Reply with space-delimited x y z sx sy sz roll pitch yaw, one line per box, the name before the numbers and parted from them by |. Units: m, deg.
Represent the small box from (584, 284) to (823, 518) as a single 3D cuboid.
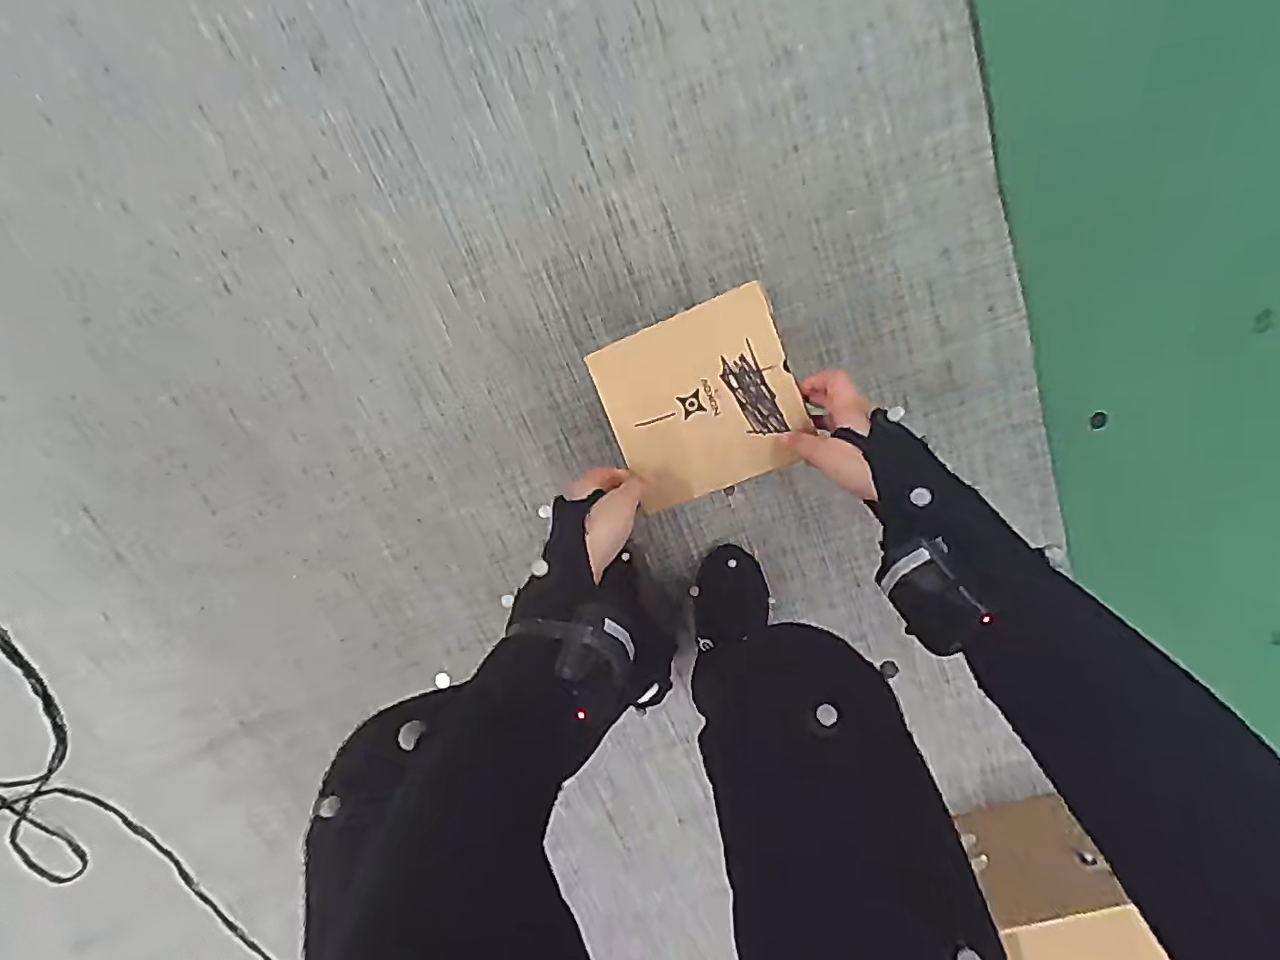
small box | 0.067 -0.078 0.564 0.179 0.176 0.168 -21 93 12
